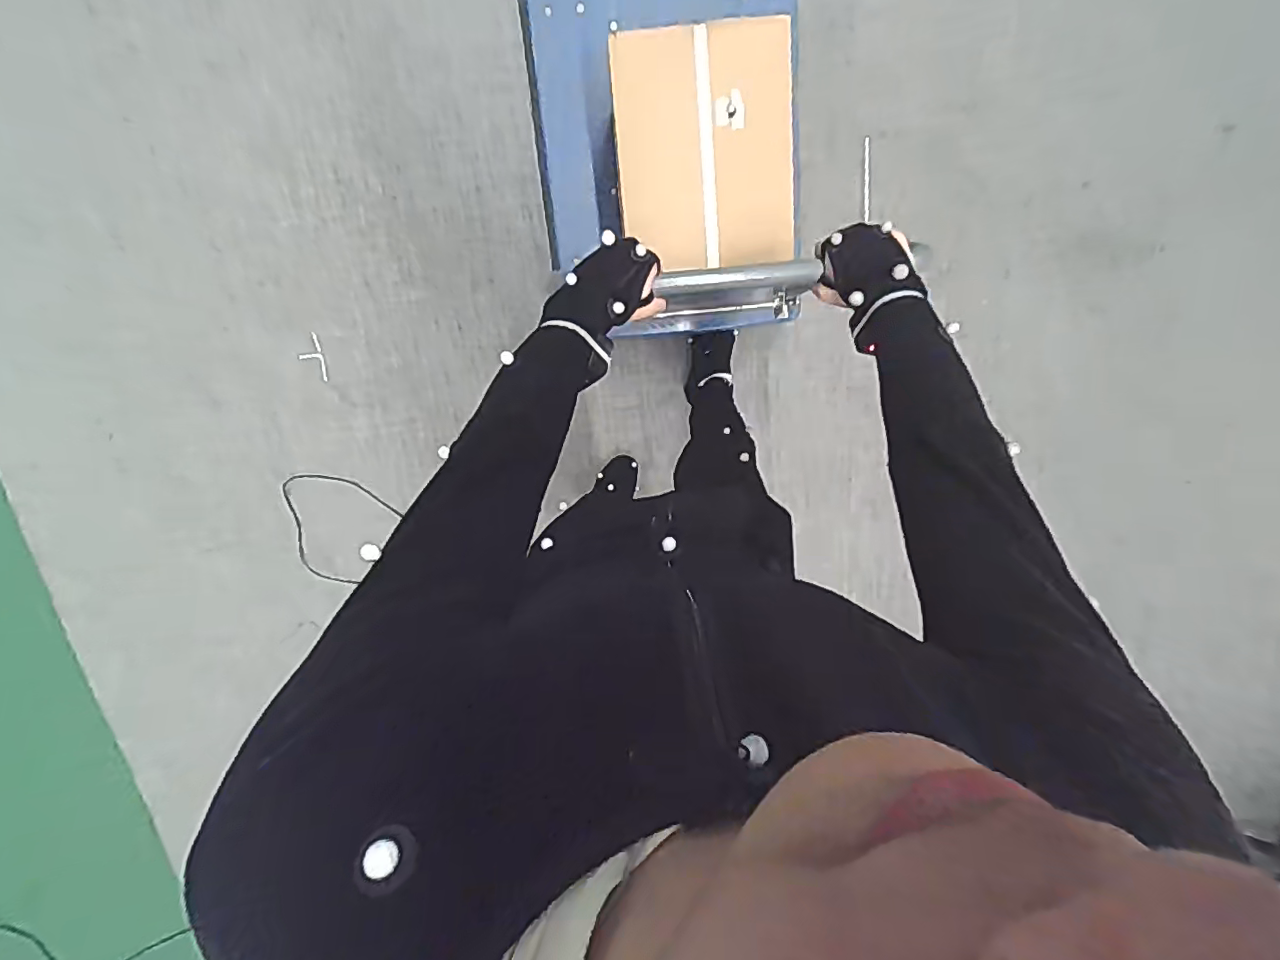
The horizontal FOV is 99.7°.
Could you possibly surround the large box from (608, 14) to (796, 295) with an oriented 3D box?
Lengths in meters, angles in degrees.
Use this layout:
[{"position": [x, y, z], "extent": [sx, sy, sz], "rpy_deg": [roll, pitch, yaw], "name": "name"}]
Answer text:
[{"position": [0.116, -0.617, 1.107], "extent": [0.320, 0.320, 0.408], "rpy_deg": [-6, 104, 0], "name": "large box"}]
